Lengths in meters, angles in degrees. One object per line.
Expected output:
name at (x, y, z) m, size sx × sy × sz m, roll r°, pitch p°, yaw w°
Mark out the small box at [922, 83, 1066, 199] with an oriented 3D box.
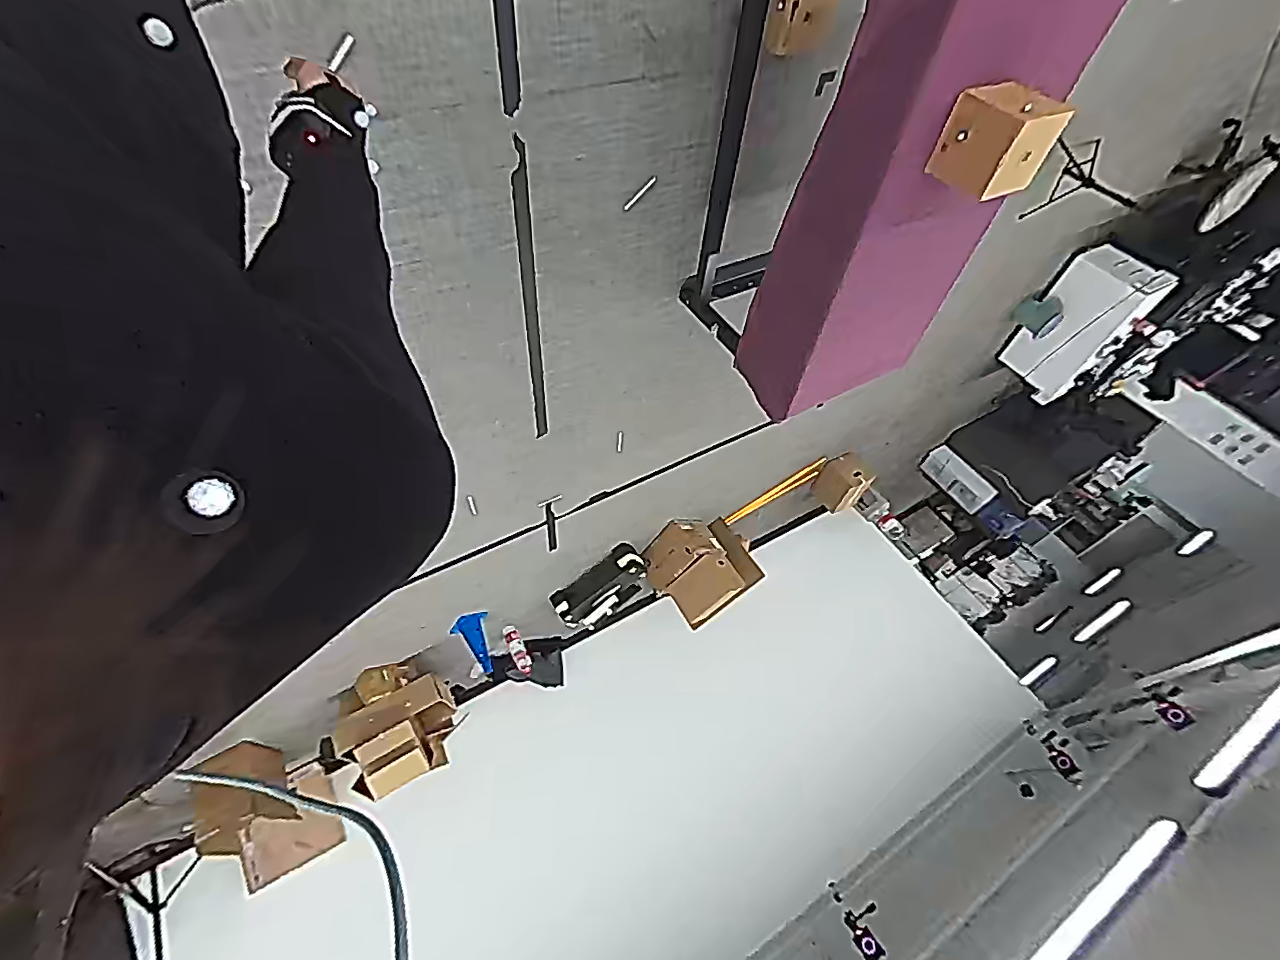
small box at (0.794, -0.775, 1.230) m, size 0.179 × 0.176 × 0.168 m, roll -23°, pitch 150°, yaw -20°
